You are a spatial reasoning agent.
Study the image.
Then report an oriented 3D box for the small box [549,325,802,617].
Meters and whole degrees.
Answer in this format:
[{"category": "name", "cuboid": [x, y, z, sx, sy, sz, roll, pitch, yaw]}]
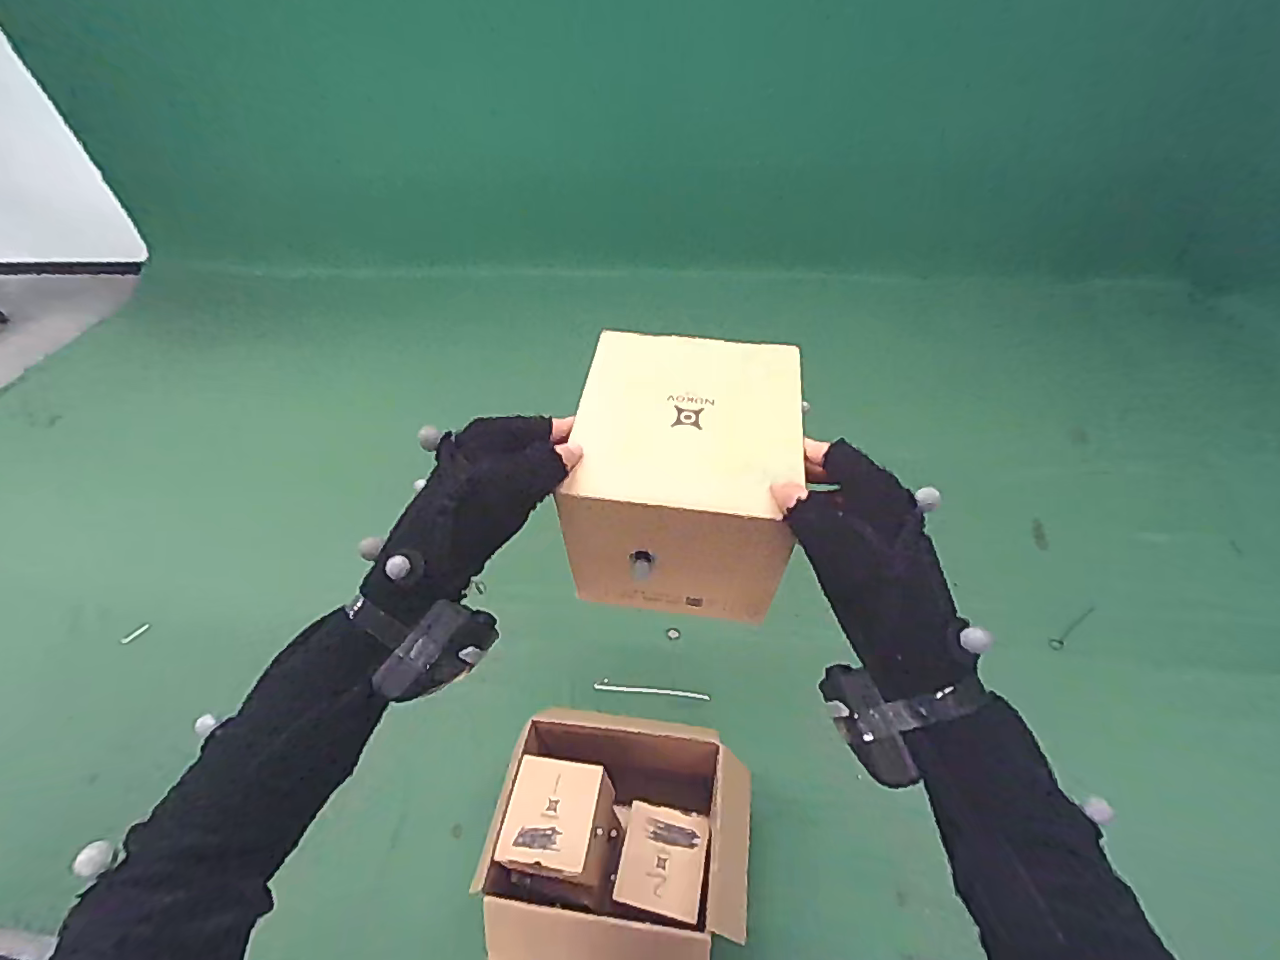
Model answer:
[{"category": "small box", "cuboid": [0.035, -0.003, 0.454, 0.168, 0.176, 0.179, 7, 52, 6]}]
